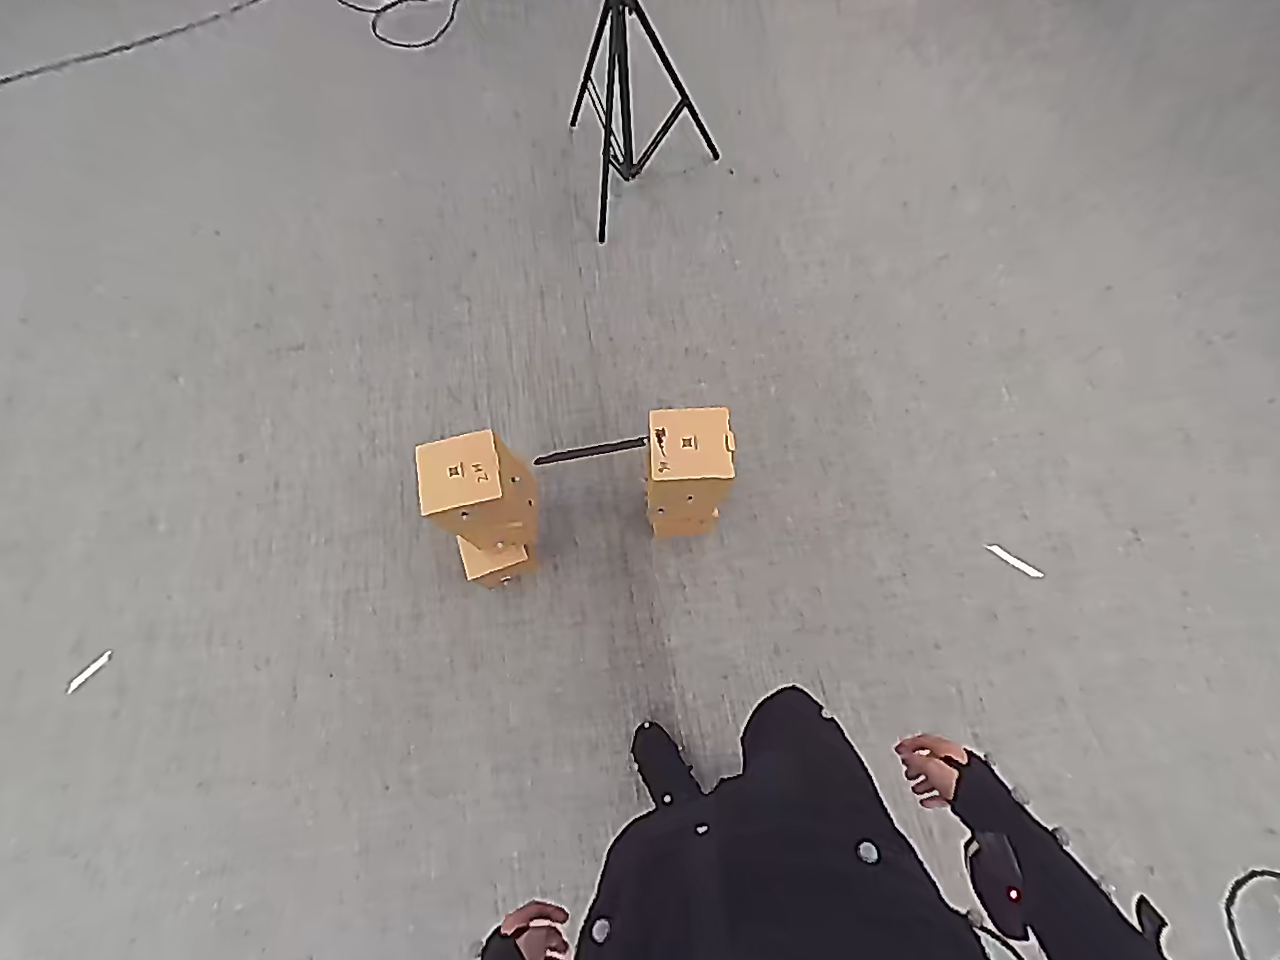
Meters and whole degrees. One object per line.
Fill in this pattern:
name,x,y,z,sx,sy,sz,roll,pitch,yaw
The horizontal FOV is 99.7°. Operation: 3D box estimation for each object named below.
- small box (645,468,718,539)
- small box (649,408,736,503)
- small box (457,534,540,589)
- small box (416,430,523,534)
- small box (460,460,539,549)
small box,0.114,0.059,1.524,0.179,0.176,0.168,-9,70,-2
small box,0.111,-0.050,1.215,0.179,0.176,0.168,-2,69,0
small box,-0.391,0.185,1.500,0.168,0.176,0.179,-20,71,-4
small box,-0.379,0.011,1.214,0.179,0.176,0.168,-13,69,-2
small box,-0.355,0.066,1.368,0.168,0.176,0.179,-6,70,1
